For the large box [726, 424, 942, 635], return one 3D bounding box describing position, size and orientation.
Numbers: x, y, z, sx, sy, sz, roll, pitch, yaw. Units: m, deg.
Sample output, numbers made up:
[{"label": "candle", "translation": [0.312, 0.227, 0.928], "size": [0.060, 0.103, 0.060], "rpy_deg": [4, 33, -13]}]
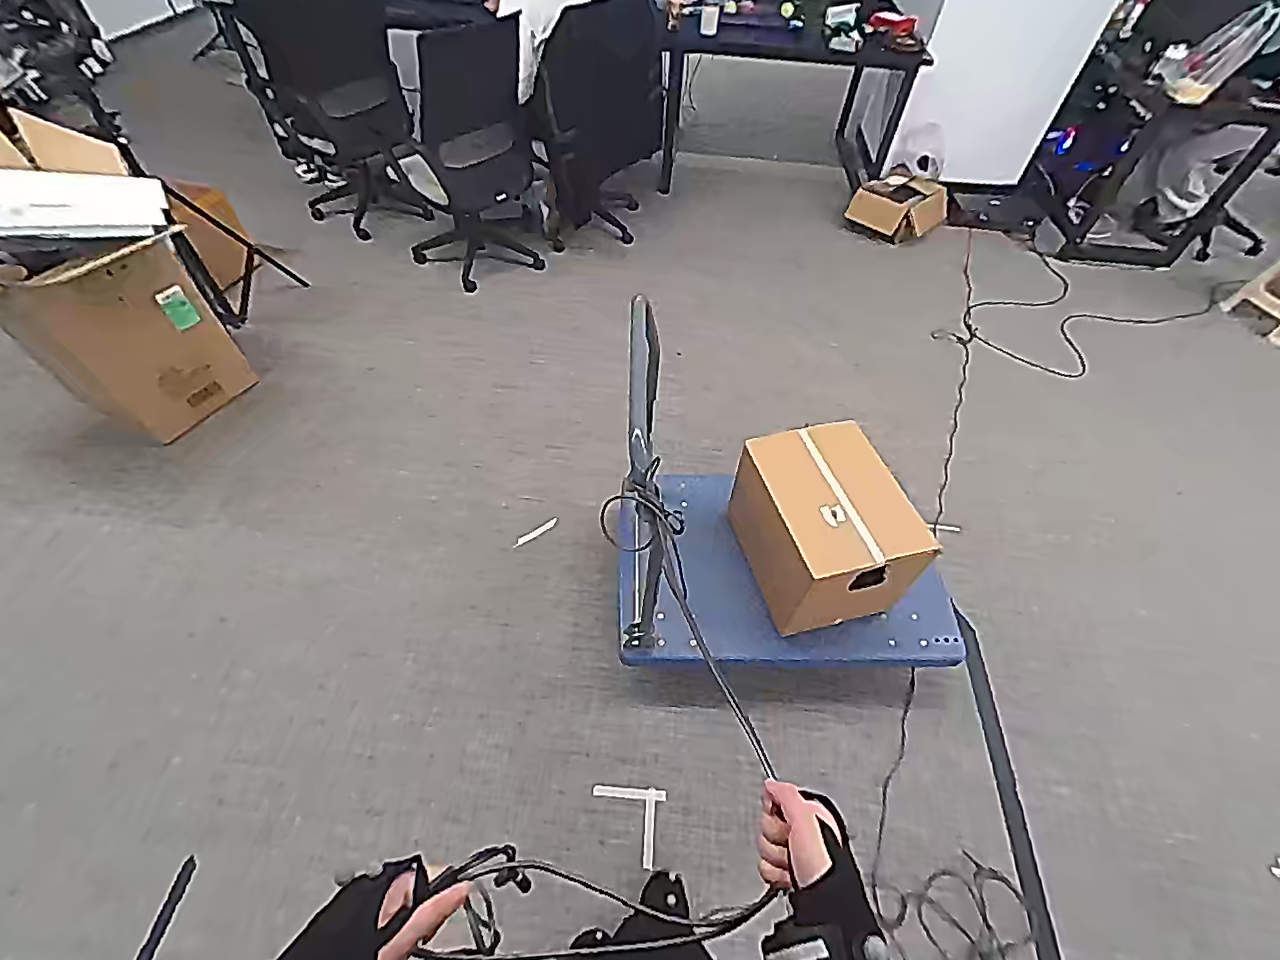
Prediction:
[{"label": "large box", "translation": [0.450, 0.122, 1.373], "size": [0.320, 0.320, 0.408], "rpy_deg": [-11, 54, -10]}]
